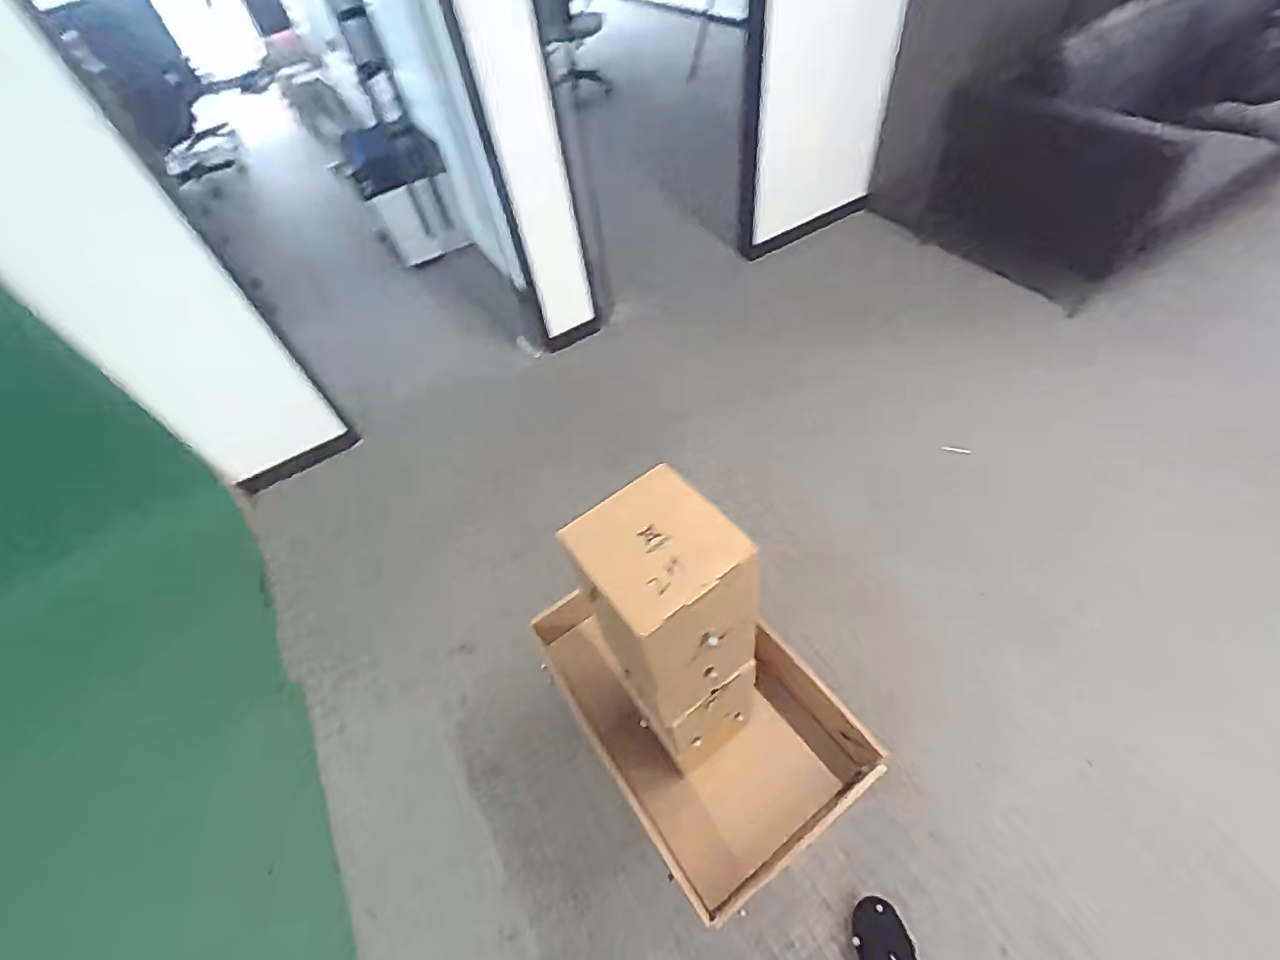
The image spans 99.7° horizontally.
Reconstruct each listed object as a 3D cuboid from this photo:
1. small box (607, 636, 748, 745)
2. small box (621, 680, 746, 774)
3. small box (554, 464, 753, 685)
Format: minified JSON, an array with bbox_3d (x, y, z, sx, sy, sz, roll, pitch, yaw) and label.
[{"bbox_3d":[0.067,0.325,0.928,0.168,0.176,0.179,-31,52,-17],"label":"small box"},{"bbox_3d":[0.089,0.433,1.049,0.179,0.176,0.168,-32,53,-18],"label":"small box"},{"bbox_3d":[0.020,0.119,0.675,0.168,0.176,0.179,-33,53,-17],"label":"small box"}]
